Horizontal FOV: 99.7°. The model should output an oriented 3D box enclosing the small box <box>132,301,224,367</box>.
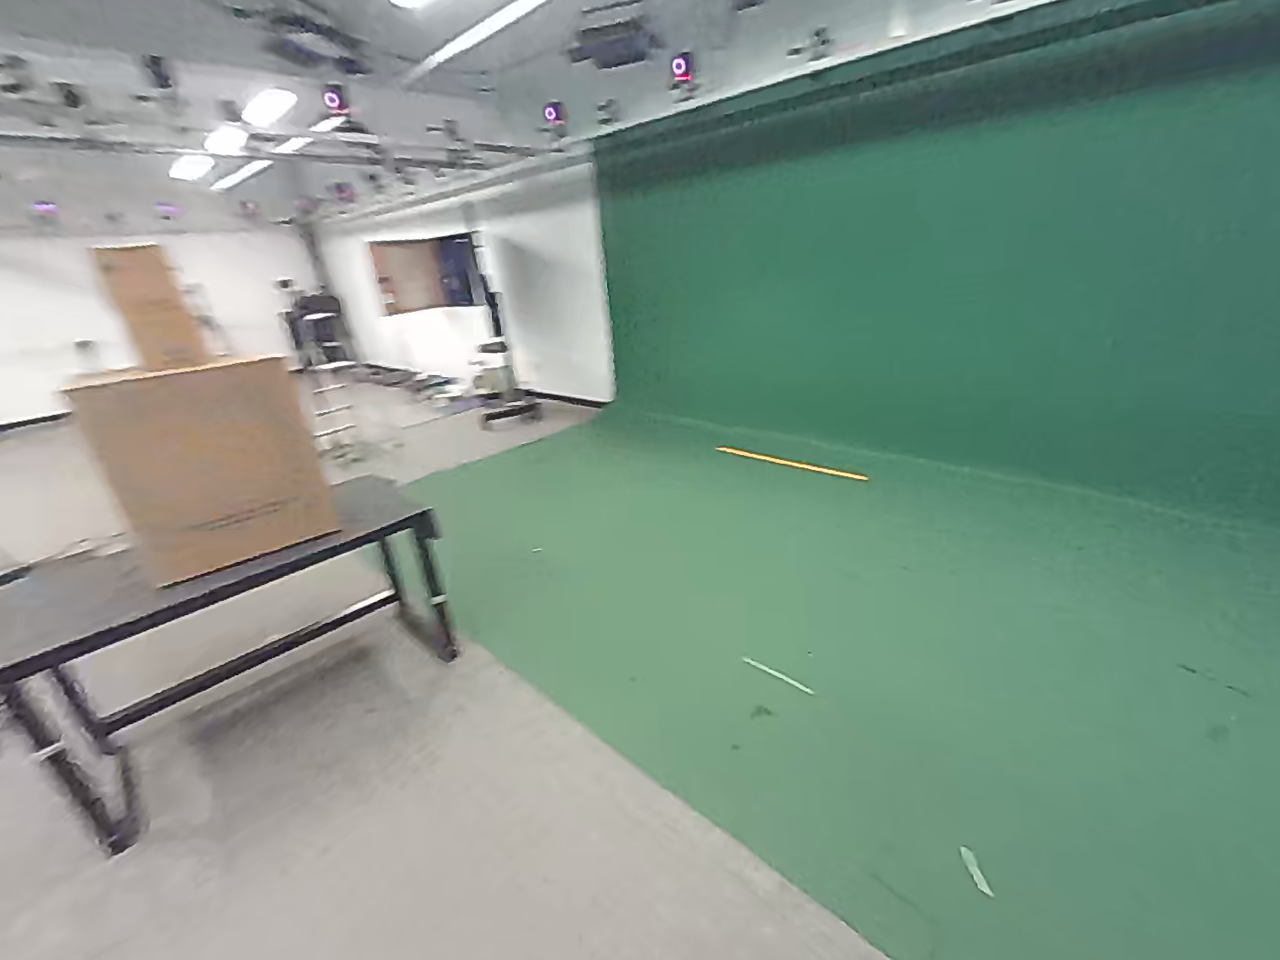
[{"bbox_3d":[-1.385,-0.443,1.632,0.168,0.176,0.179,-18,28,-30],"label":"small box"}]
